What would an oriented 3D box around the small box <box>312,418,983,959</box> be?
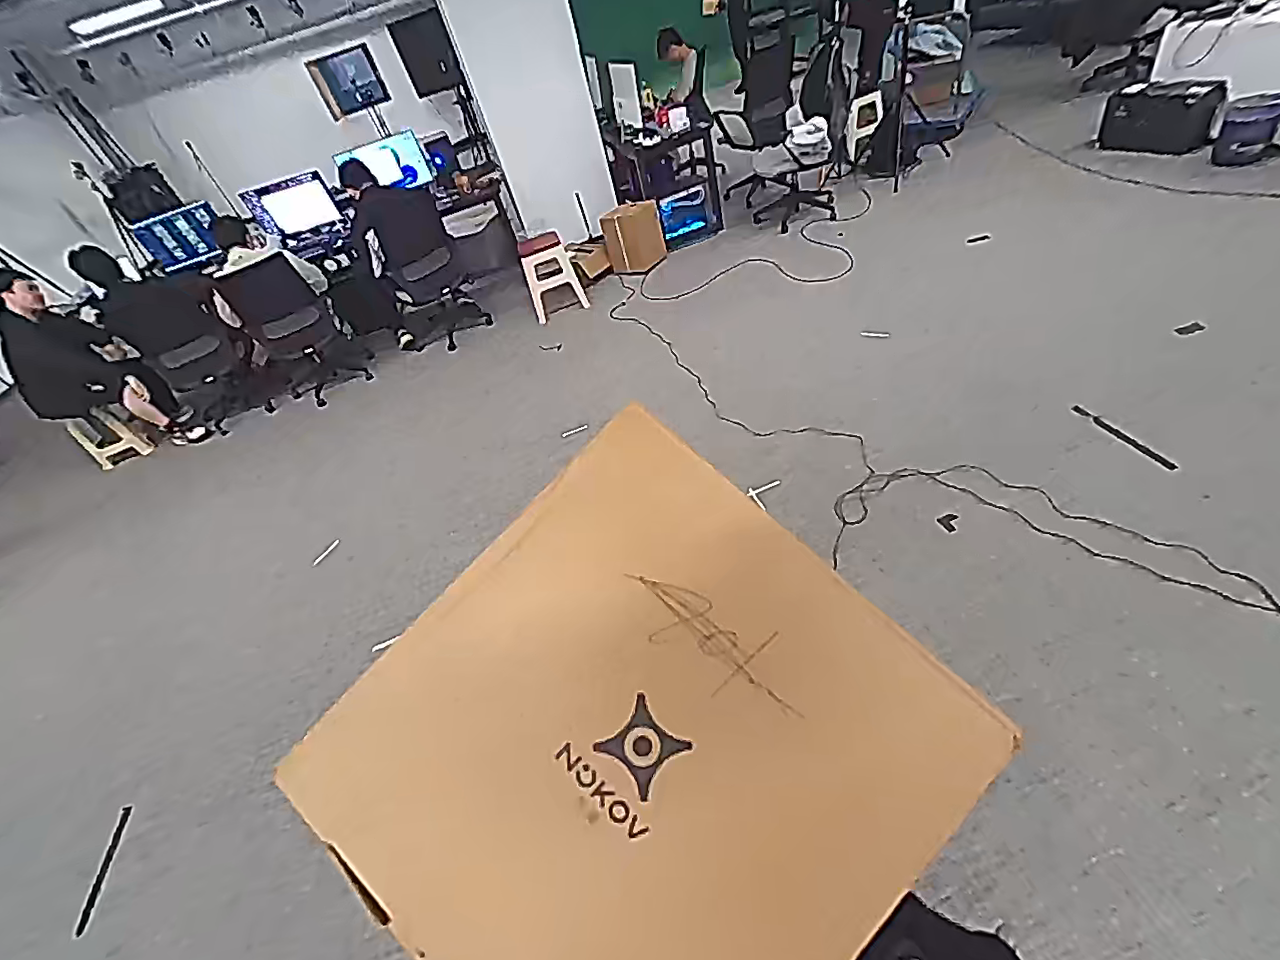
[{"bbox_3d":[0.004,0.107,0.262,0.168,0.176,0.179,41,82,10],"label":"small box"}]
